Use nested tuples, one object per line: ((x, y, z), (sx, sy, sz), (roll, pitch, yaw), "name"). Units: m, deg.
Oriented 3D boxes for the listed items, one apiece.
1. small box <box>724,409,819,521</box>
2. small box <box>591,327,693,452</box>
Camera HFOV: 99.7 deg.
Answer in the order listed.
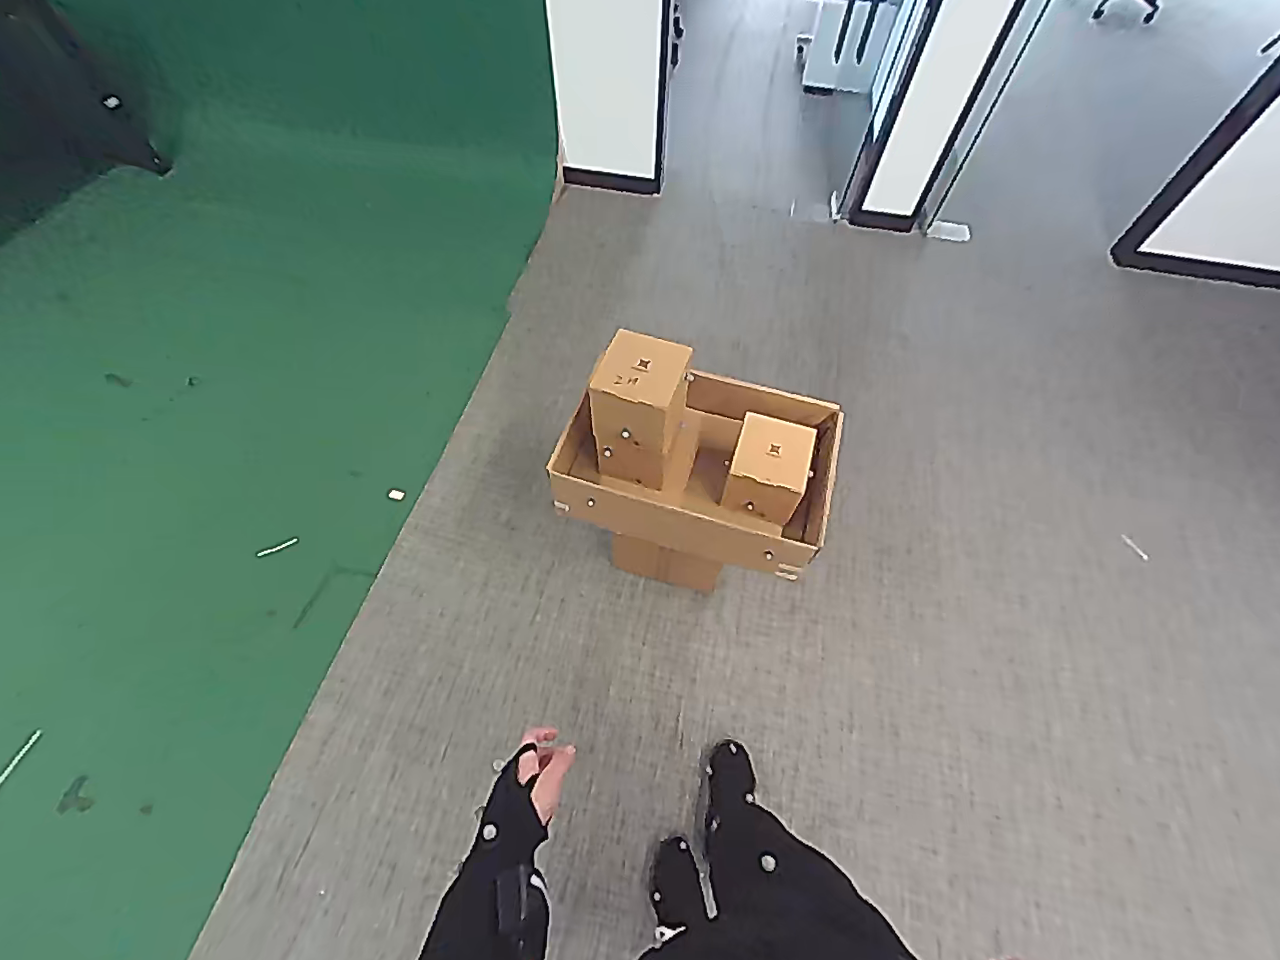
((0.301, -0.032, 1.261), (0.168, 0.176, 0.179), (15, 62, 8), "small box")
((0.005, -0.190, 1.159), (0.168, 0.176, 0.179), (17, 61, 10), "small box")
